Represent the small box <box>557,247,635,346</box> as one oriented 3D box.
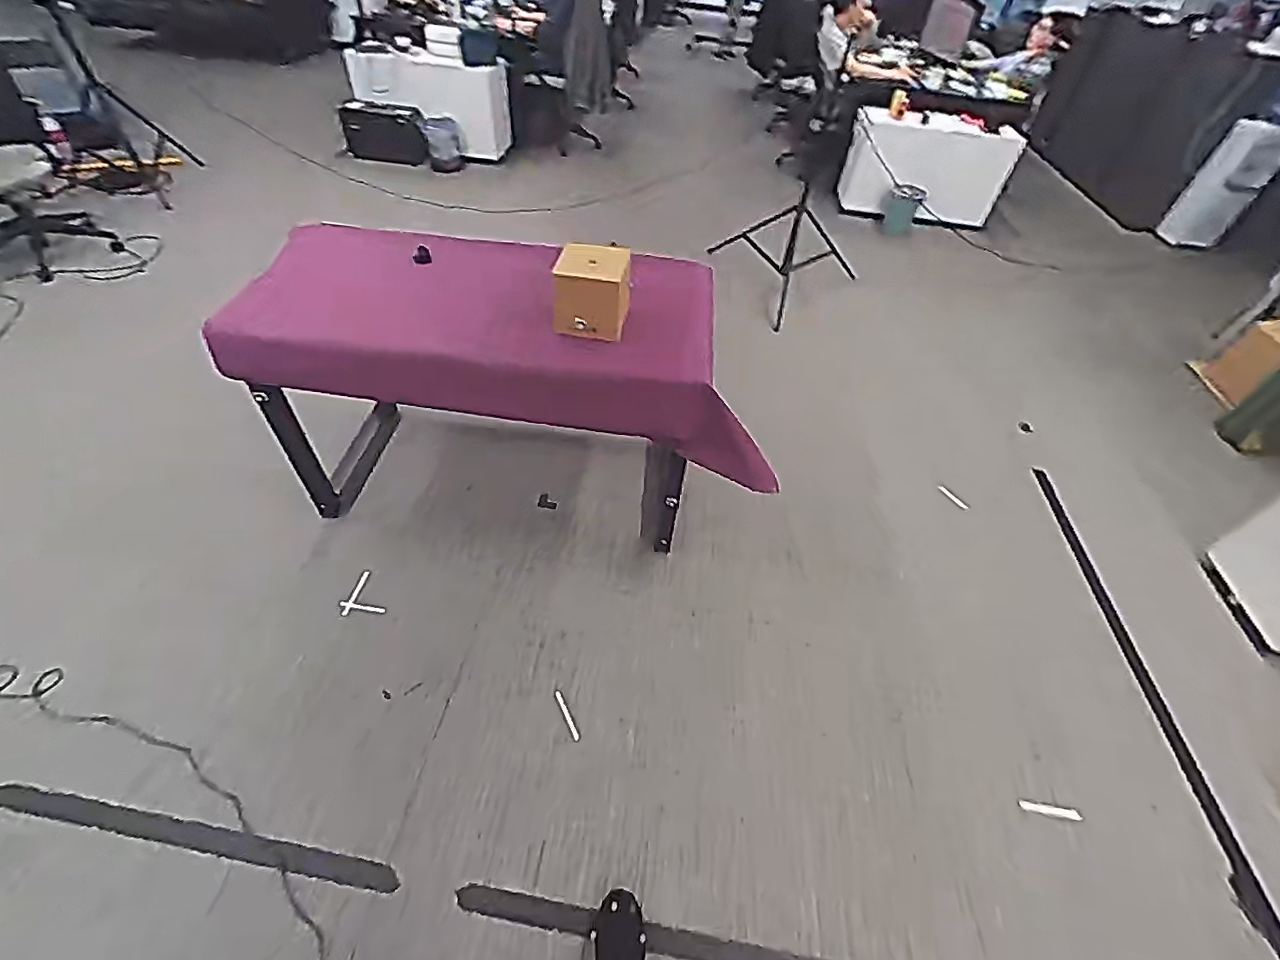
[{"bbox_3d":[-0.110,-0.468,1.384,0.168,0.176,0.179,8,47,3],"label":"small box"}]
